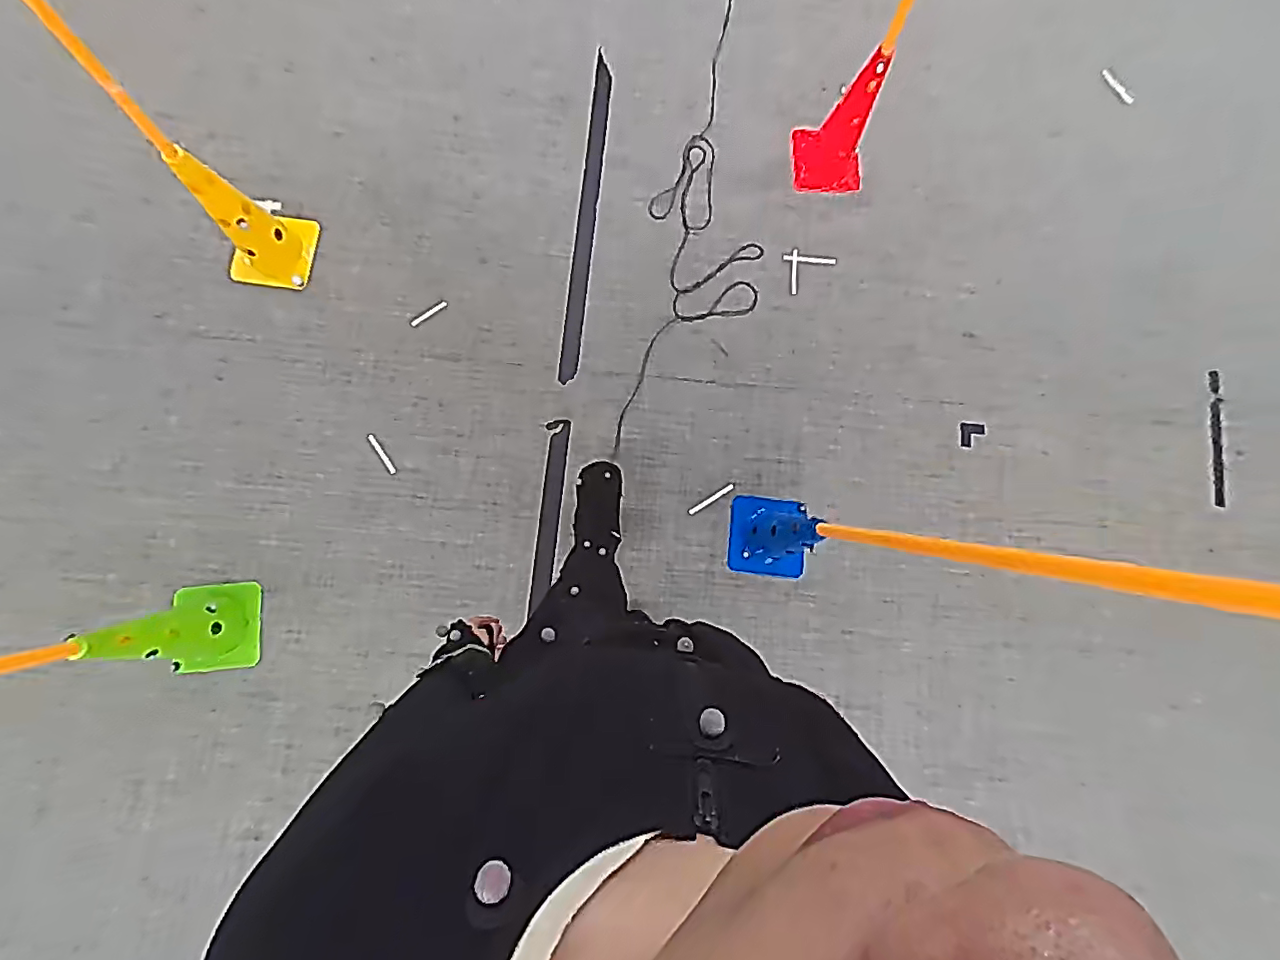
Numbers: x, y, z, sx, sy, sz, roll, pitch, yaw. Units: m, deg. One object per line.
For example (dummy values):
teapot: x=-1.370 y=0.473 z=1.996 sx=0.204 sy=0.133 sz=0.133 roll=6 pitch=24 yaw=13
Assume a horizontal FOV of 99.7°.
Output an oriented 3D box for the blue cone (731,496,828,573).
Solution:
blue cone: x=0.342 y=0.114 z=1.244 sx=0.193 sy=0.380 sz=0.192 roll=8 pitch=80 yaw=-2

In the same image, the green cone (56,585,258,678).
green cone: x=-1.001 y=0.325 z=1.113 sx=0.200 sy=0.368 sz=0.202 roll=-5 pitch=79 yaw=-5

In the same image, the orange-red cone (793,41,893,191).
orange-red cone: x=0.554 y=-0.963 z=1.414 sx=0.199 sy=0.360 sz=0.198 roll=0 pitch=80 yaw=-2
